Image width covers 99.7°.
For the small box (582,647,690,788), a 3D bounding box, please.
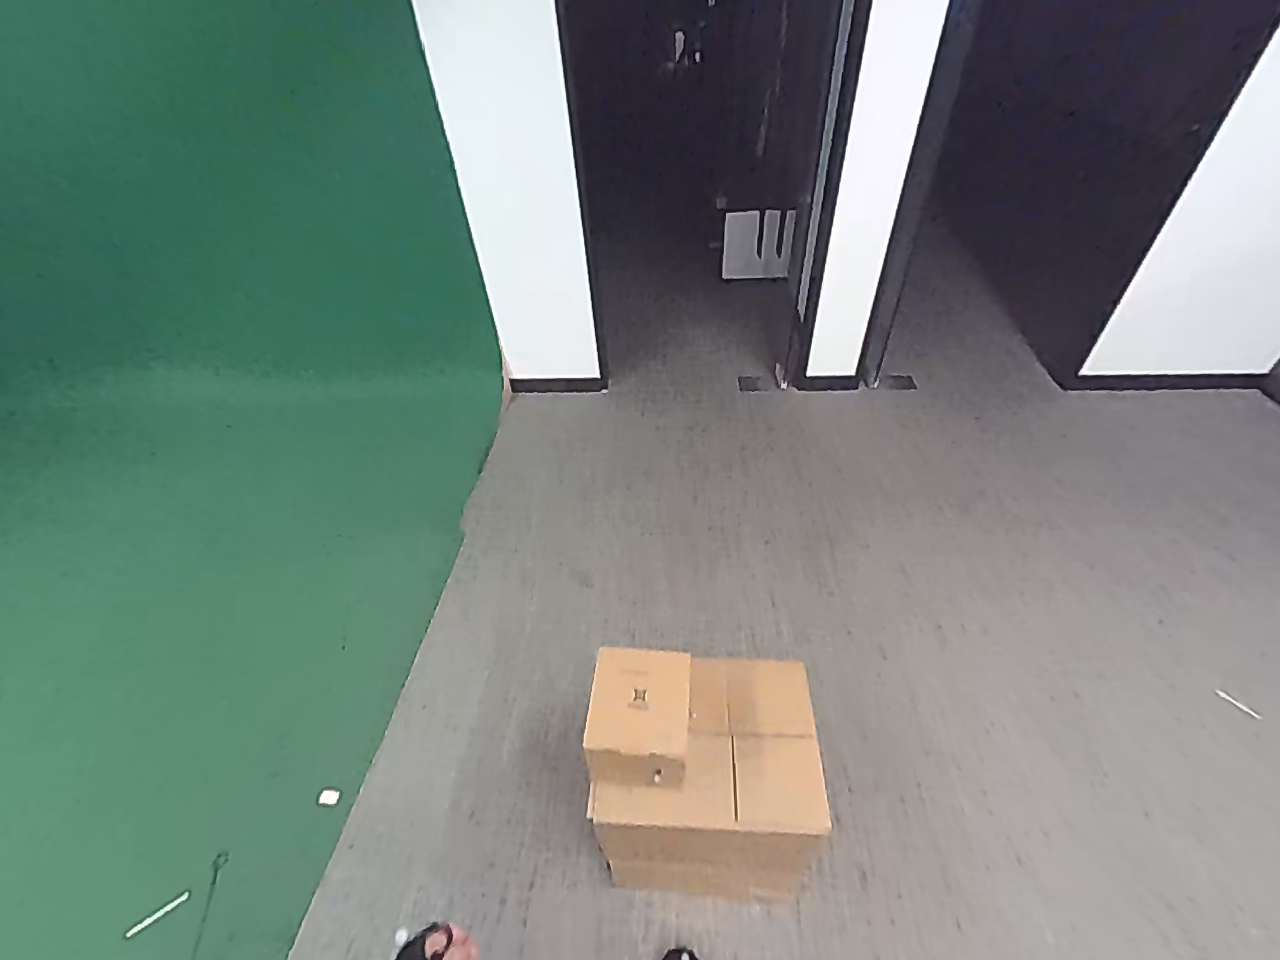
[{"bbox_3d":[0.001,0.419,0.948,0.168,0.176,0.179,3,44,5],"label":"small box"}]
